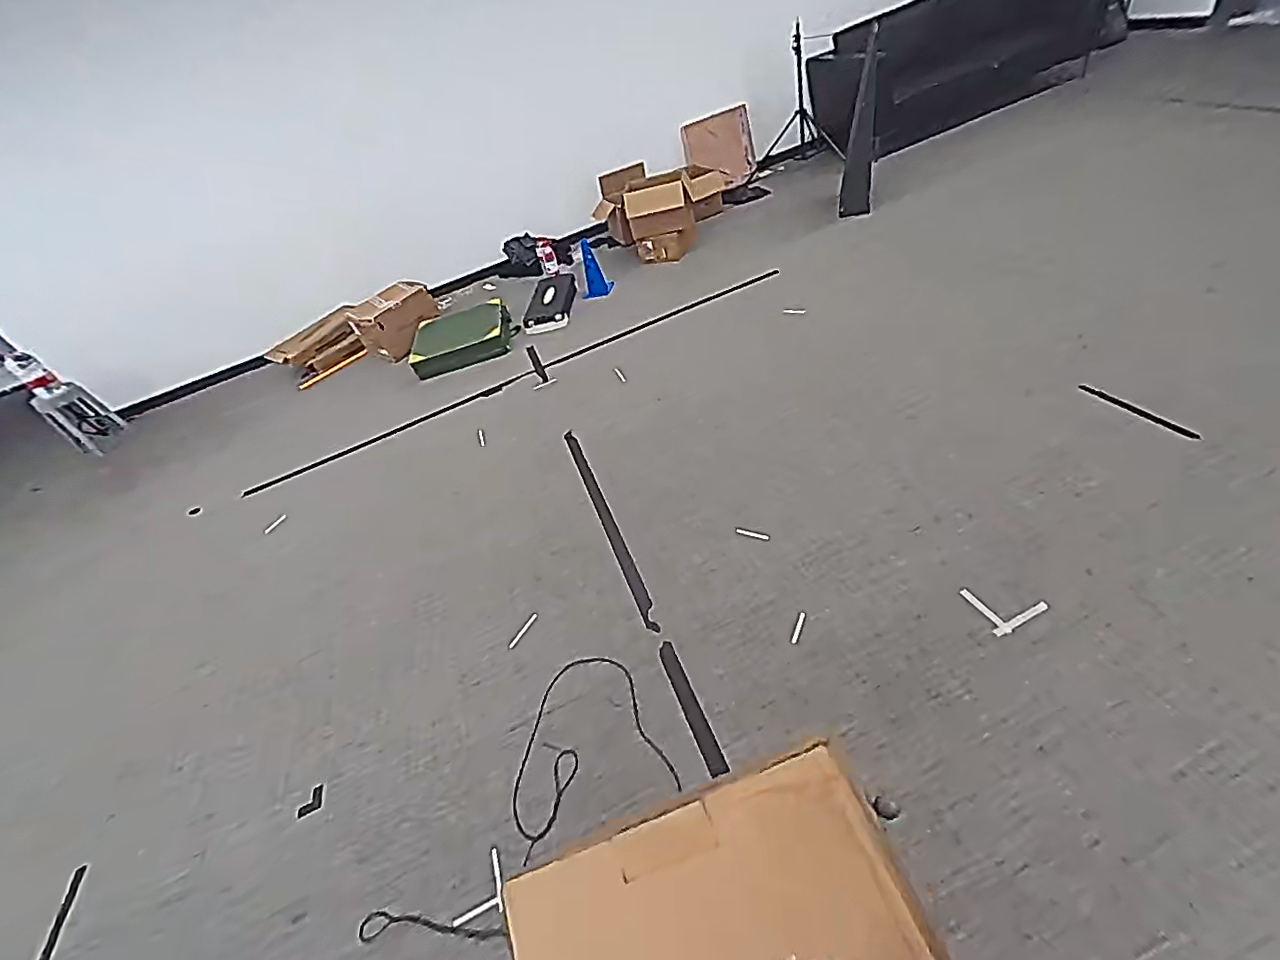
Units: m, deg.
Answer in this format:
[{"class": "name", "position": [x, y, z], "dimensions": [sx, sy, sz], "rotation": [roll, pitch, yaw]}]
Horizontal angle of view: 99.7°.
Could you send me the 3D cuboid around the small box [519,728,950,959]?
[{"class": "small box", "position": [0.068, 0.254, 0.288], "dimensions": [0.168, 0.179, 0.176], "rotation": [-28, 61, 8]}]
